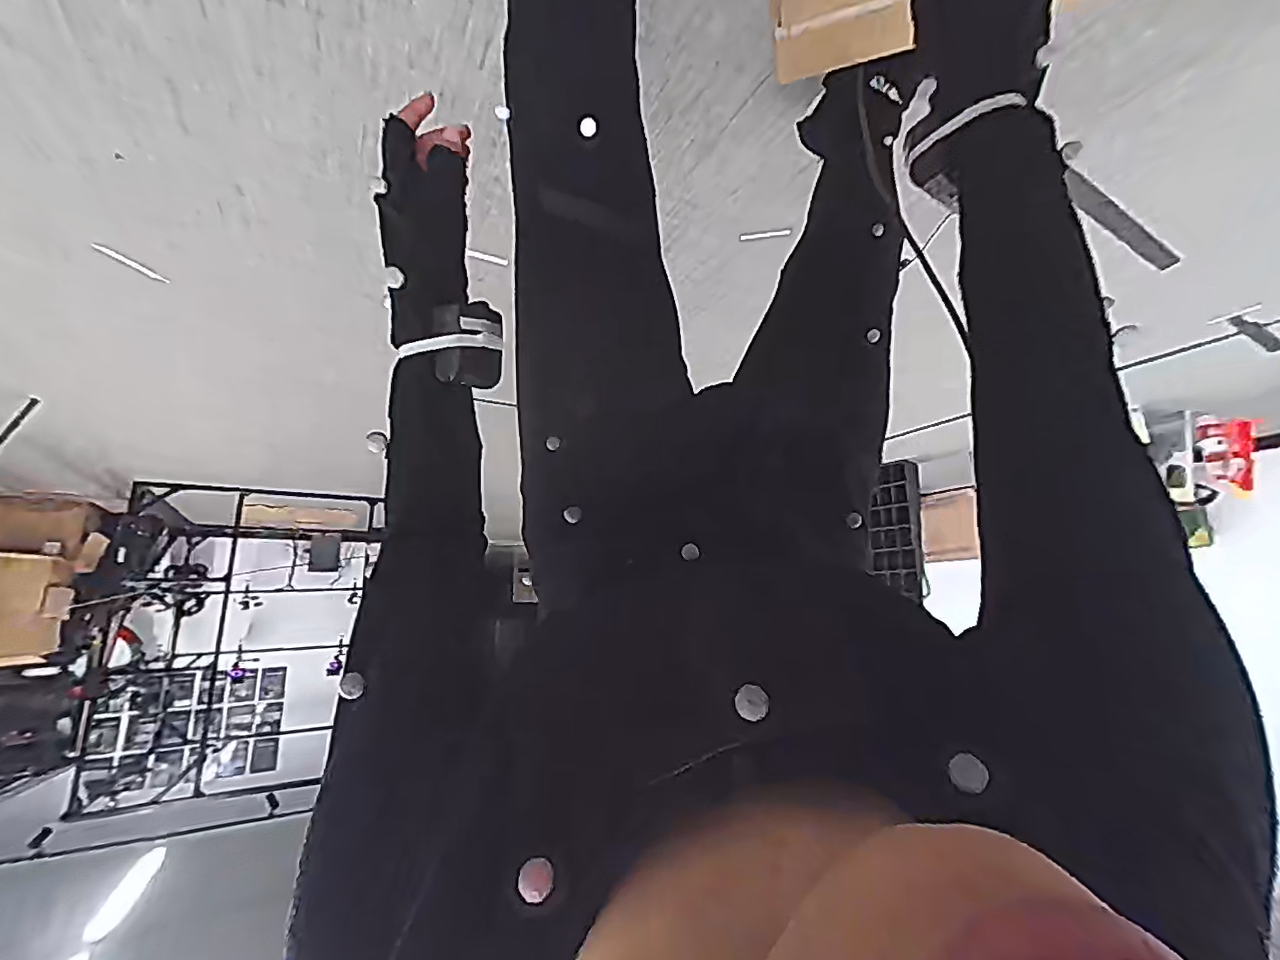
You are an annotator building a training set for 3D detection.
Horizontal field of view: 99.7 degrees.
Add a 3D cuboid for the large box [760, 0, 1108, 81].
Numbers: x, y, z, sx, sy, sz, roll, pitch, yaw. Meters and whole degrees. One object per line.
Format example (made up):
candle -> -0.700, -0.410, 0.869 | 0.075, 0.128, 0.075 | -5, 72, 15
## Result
large box -> 0.289, -0.588, 0.424 | 0.408, 0.320, 0.320 | -4, -163, 17
